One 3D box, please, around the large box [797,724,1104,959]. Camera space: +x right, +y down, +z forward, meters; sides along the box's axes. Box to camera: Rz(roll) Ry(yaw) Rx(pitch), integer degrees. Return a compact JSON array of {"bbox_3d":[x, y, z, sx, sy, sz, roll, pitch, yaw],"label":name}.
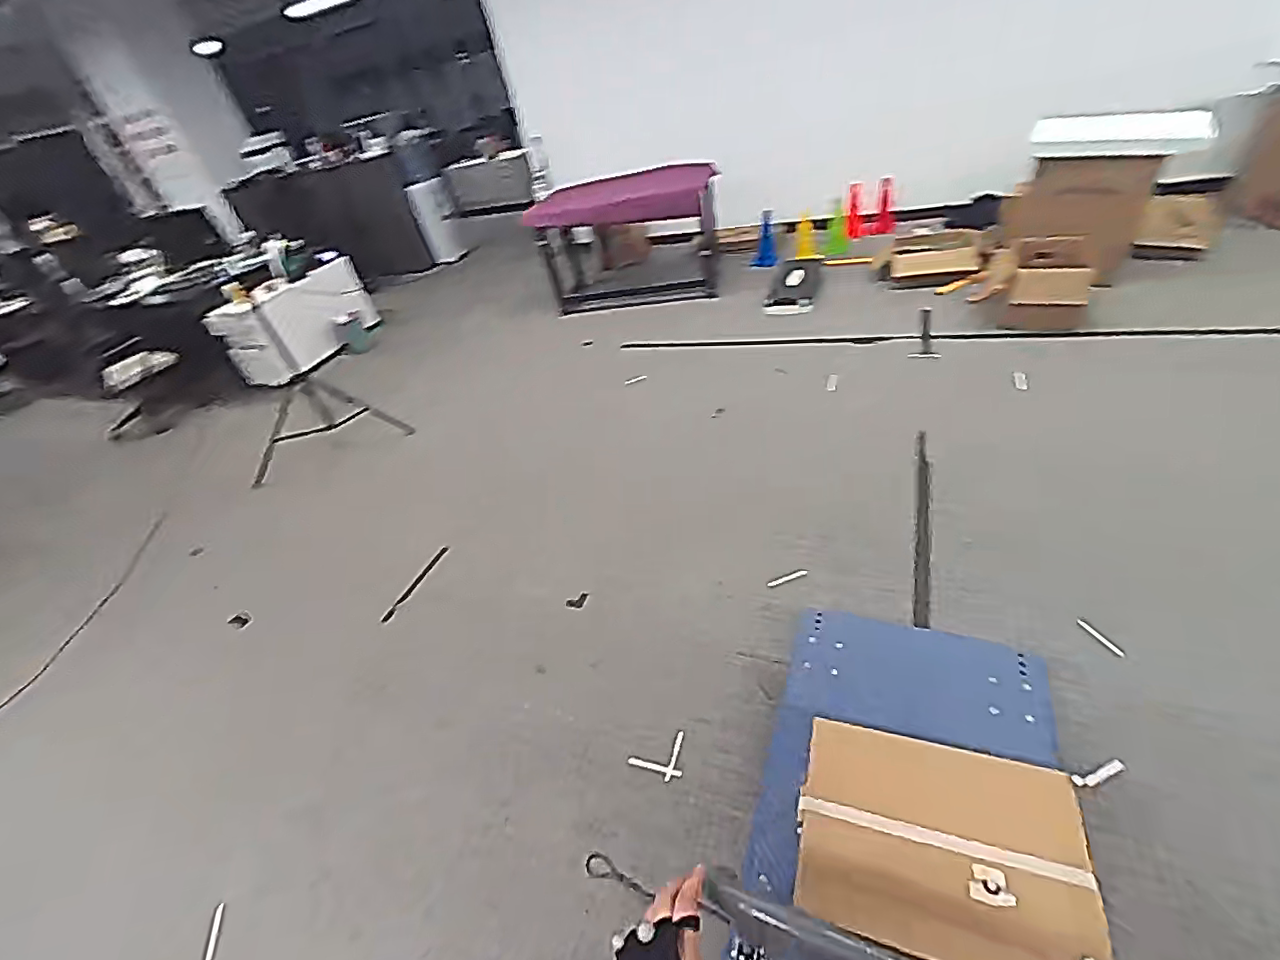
[{"bbox_3d":[0.495,0.688,0.953,0.408,0.320,0.320,4,43,21],"label":"large box"}]
